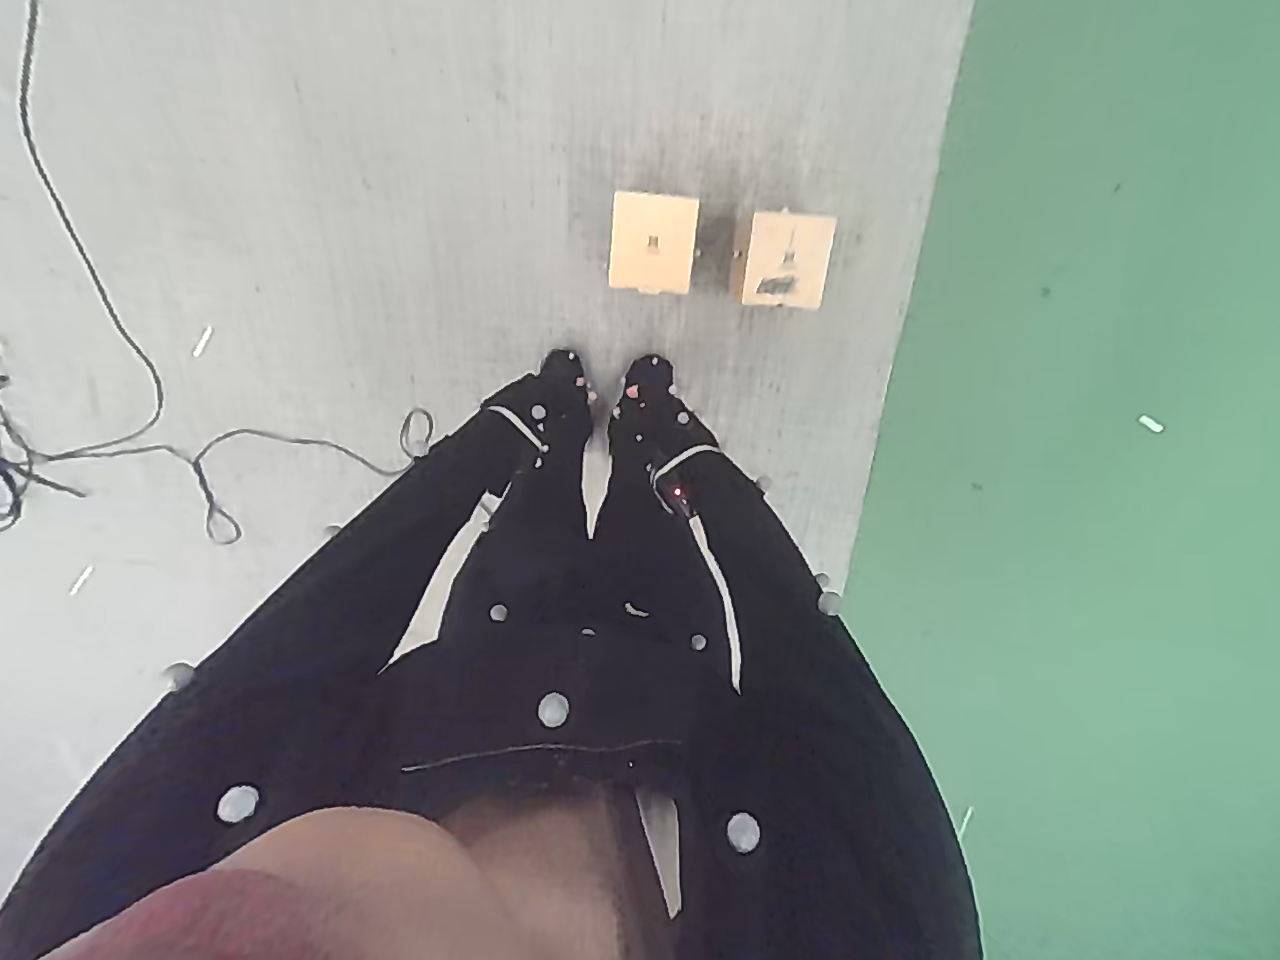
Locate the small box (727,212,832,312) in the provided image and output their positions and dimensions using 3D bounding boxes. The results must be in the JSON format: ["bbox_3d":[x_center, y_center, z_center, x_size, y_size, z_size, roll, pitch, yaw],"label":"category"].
[{"bbox_3d":[0.285,-0.464,1.151,0.168,0.176,0.179,4,113,-3],"label":"small box"}]

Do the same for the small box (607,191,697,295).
[{"bbox_3d":[0.018,-0.493,1.134,0.168,0.176,0.179,4,114,-3],"label":"small box"}]
